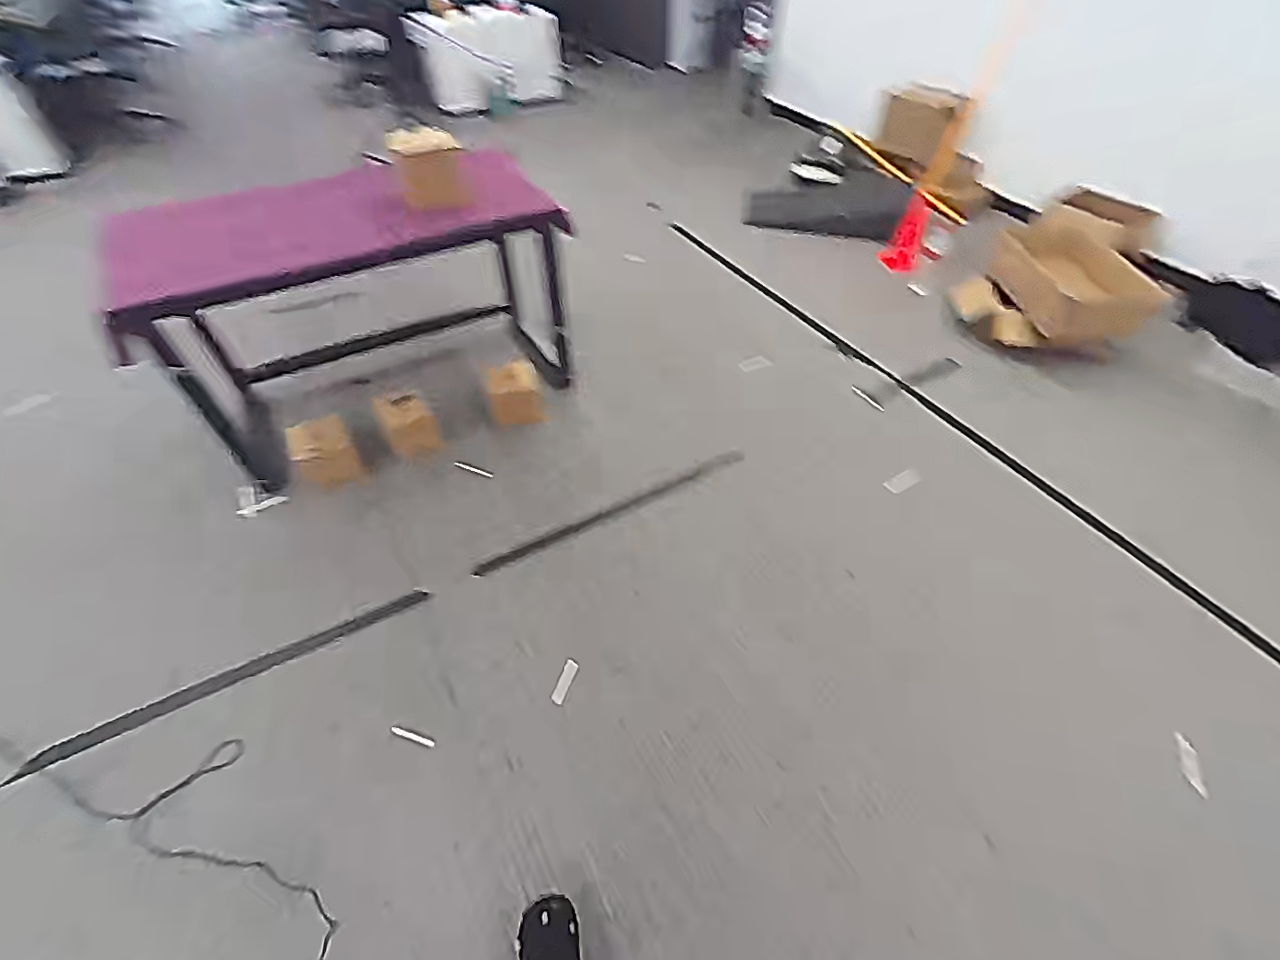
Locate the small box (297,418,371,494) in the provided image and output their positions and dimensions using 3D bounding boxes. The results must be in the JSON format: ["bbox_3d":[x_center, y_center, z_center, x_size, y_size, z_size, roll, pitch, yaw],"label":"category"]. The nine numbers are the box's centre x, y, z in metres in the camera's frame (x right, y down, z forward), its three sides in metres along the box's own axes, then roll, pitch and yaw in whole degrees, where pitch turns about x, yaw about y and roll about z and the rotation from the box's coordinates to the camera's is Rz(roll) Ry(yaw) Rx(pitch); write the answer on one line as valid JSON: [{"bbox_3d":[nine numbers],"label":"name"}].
[{"bbox_3d":[-1.068,-0.084,1.891,0.168,0.176,0.179,-23,52,-19],"label":"small box"}]

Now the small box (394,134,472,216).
[{"bbox_3d":[-0.635,-0.946,1.679,0.179,0.176,0.168,-22,52,-18],"label":"small box"}]

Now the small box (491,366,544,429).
[{"bbox_3d":[-0.473,-0.319,2.103,0.179,0.176,0.168,-11,50,-8],"label":"small box"}]
